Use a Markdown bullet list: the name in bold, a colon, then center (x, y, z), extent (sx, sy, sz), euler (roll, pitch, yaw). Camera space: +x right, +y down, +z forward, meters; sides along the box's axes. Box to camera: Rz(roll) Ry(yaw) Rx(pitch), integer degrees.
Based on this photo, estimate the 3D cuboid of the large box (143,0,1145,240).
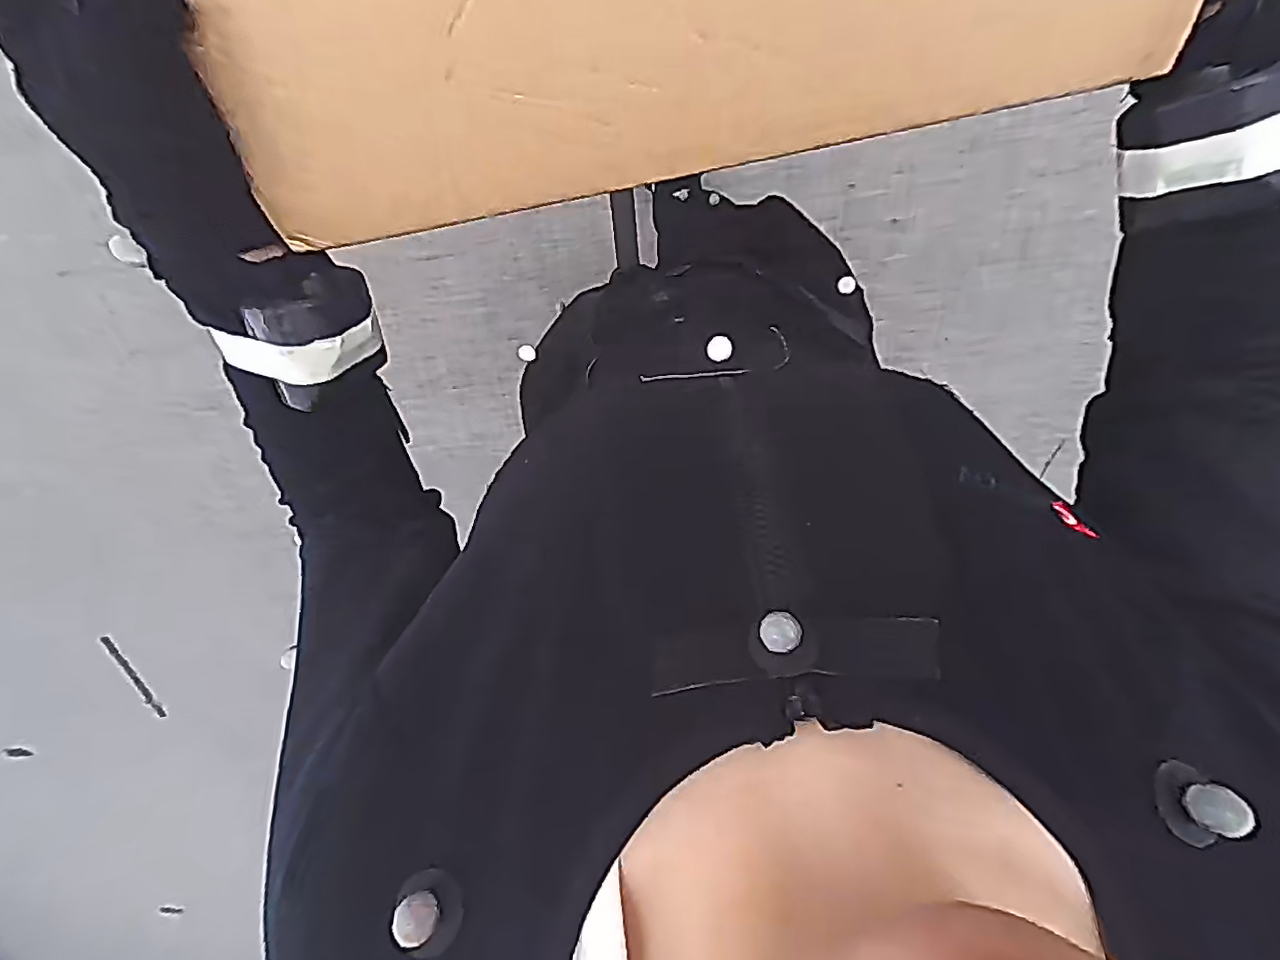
- **large box**: center (-0.012, -0.364, 0.248), extent (0.408, 0.320, 0.320), euler (-10, 136, 3)
